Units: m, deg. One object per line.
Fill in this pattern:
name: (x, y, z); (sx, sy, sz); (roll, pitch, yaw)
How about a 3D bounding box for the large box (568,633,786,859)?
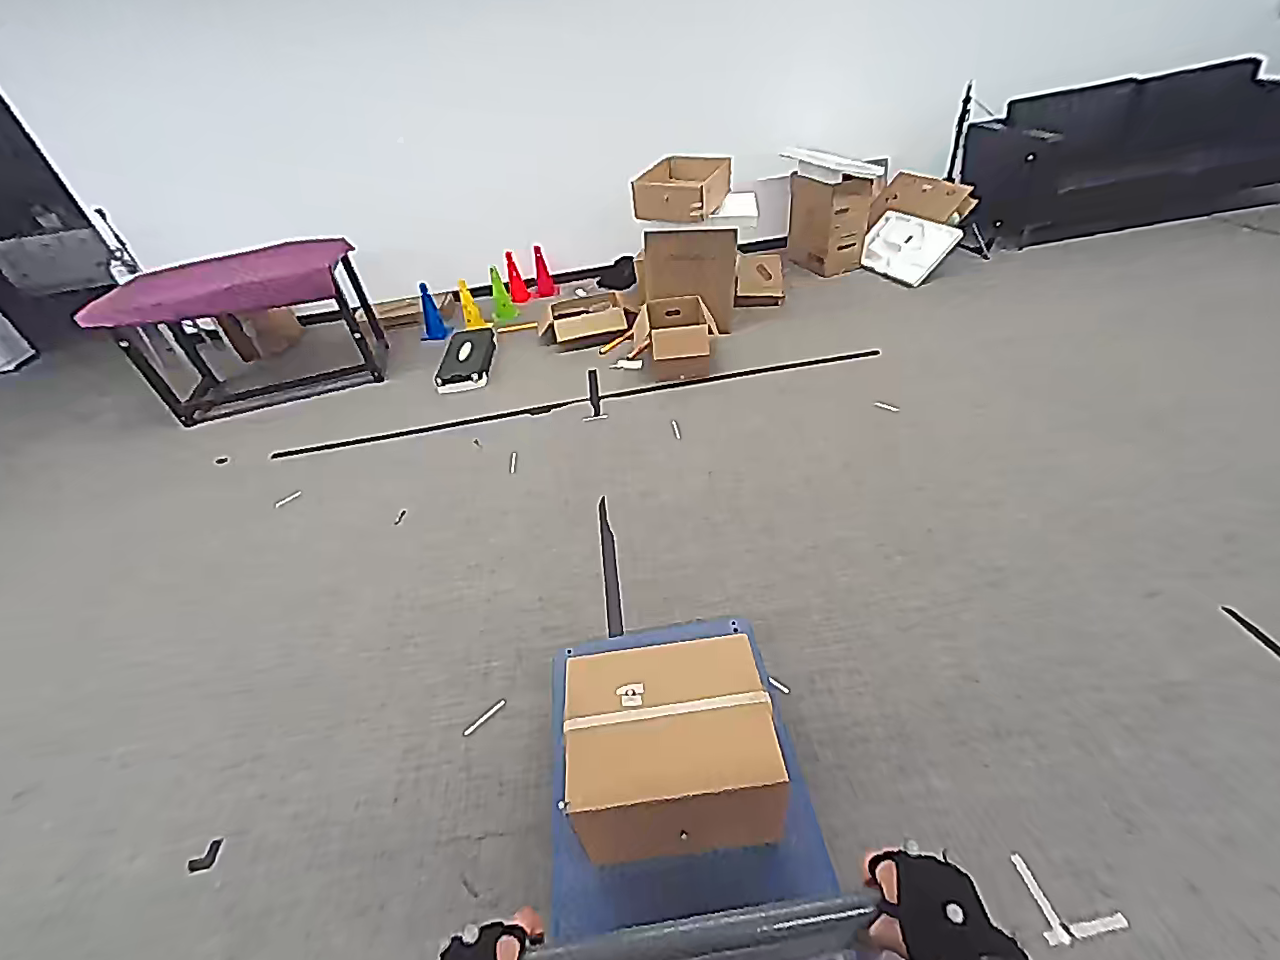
large box: (0.072, 0.581, 1.183); (0.408, 0.320, 0.320); (-9, 39, 0)
